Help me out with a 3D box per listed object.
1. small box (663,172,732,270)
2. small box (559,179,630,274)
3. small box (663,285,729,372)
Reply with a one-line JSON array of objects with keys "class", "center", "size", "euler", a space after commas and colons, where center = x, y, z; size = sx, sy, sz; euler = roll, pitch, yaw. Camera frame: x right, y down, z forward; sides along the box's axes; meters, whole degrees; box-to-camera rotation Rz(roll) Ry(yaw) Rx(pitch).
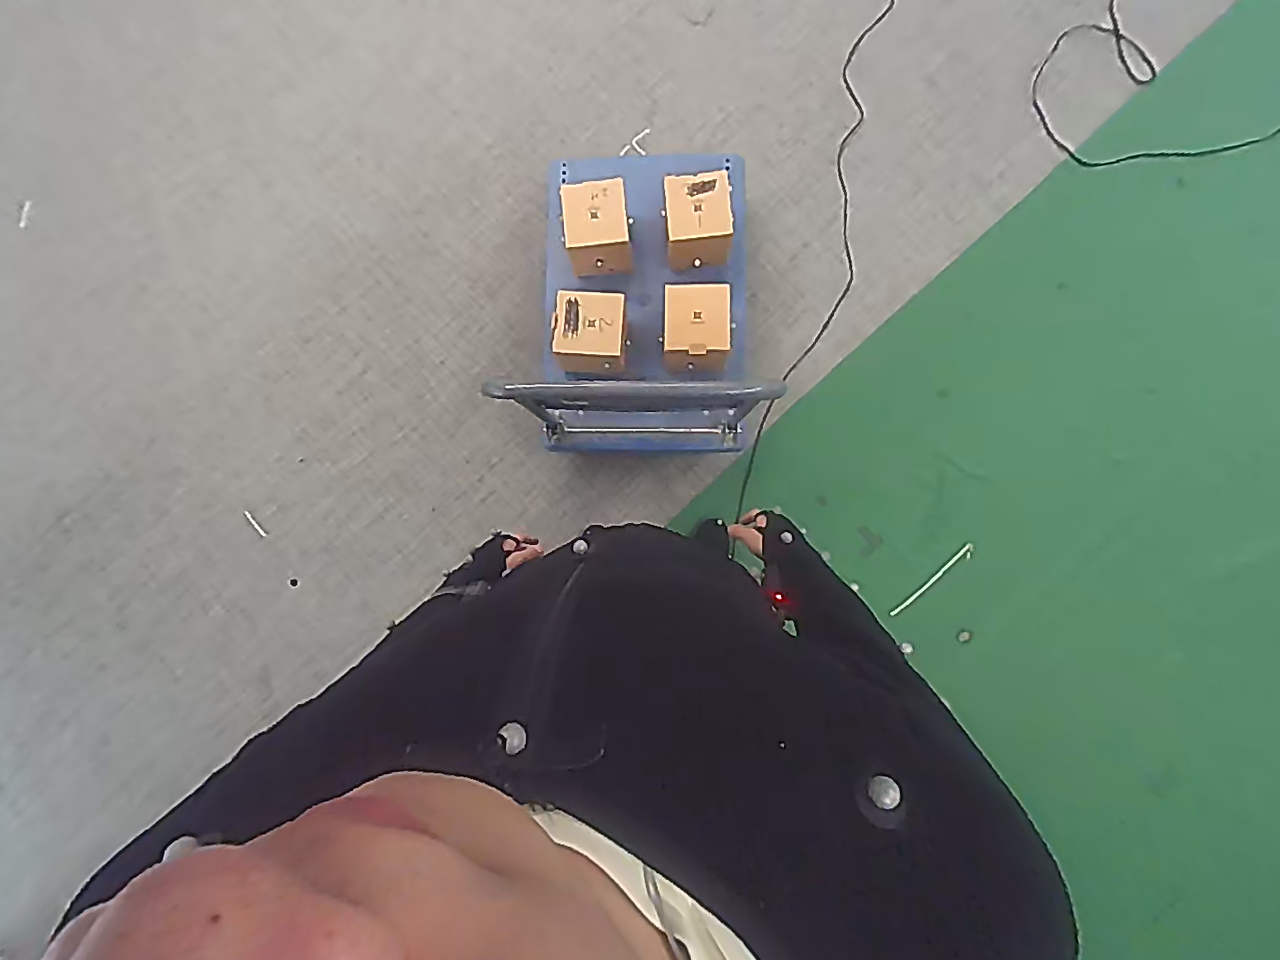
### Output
[{"class": "small box", "center": [0.150, -0.693, 1.460], "size": [0.168, 0.176, 0.179], "euler": [-5, 85, 3]}, {"class": "small box", "center": [-0.119, -0.679, 1.471], "size": [0.168, 0.176, 0.179], "euler": [-5, 84, 1]}, {"class": "small box", "center": [0.145, -0.398, 1.436], "size": [0.168, 0.176, 0.179], "euler": [0, 85, 2]}]
